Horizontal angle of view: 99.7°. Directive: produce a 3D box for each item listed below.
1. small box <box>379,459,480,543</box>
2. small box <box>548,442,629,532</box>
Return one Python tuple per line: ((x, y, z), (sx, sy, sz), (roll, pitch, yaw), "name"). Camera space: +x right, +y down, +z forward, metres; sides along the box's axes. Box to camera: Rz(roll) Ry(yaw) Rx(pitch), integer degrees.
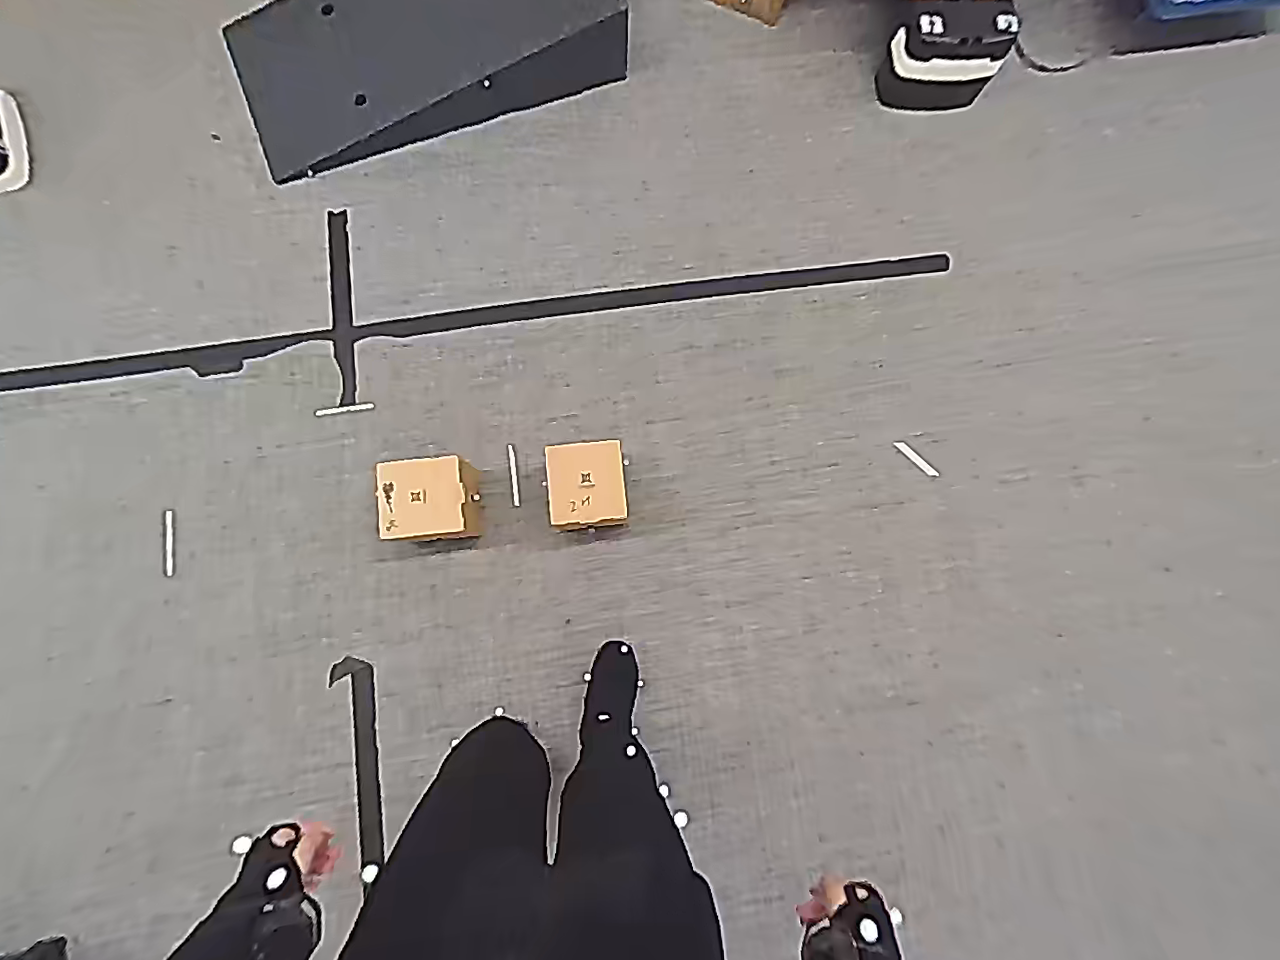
((-0.462, 0.051, 1.211), (0.179, 0.176, 0.168), (-5, 81, -5), "small box")
((-0.116, 0.021, 1.234), (0.168, 0.176, 0.179), (-5, 81, -3), "small box")
